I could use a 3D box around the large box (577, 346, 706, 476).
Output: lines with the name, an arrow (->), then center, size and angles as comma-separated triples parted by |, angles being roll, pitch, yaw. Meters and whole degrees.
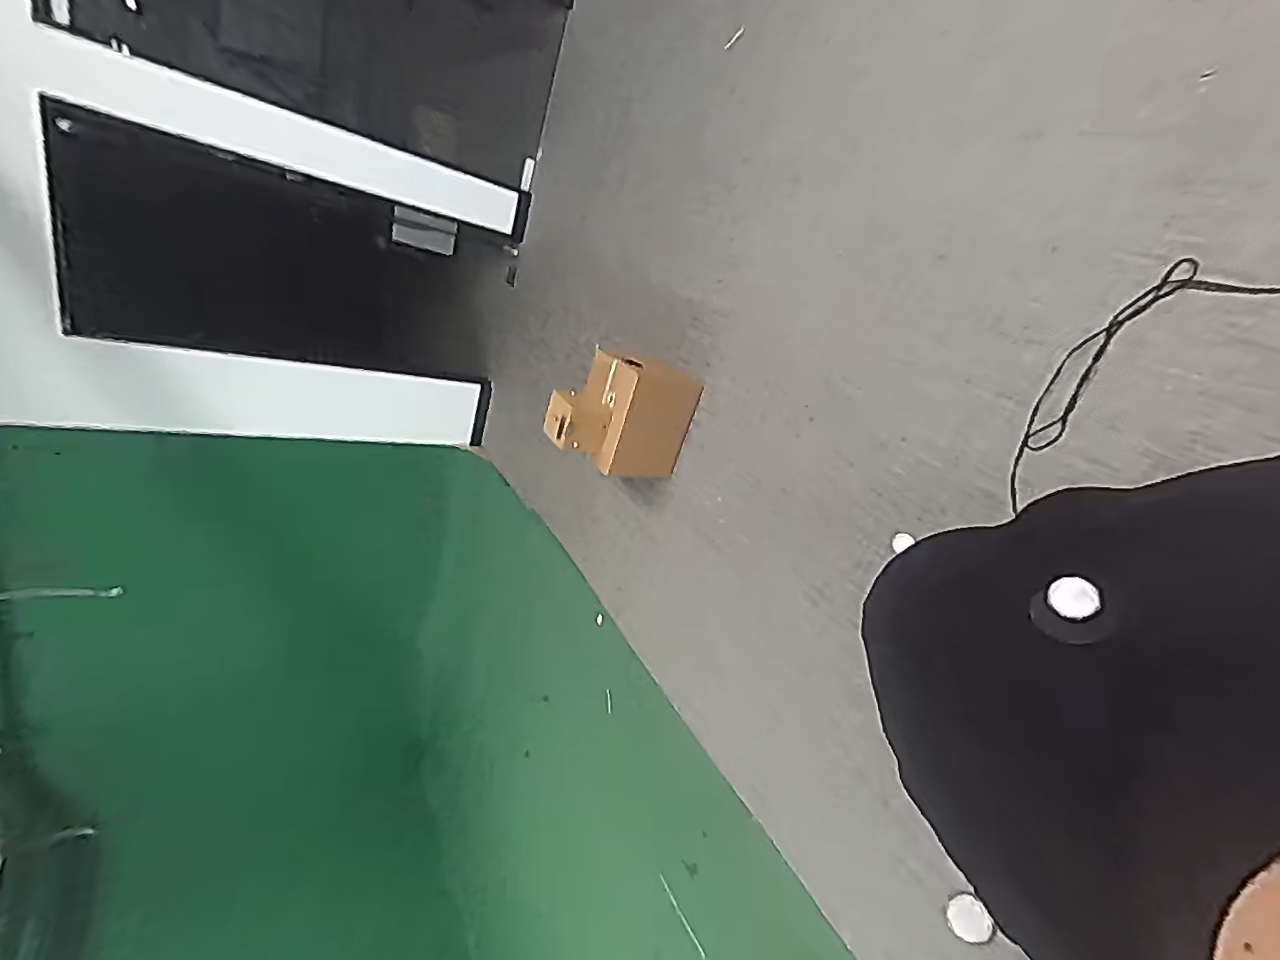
large box -> -0.001, -0.262, 2.118 | 0.320, 0.320, 0.408 | 42, 121, 45
